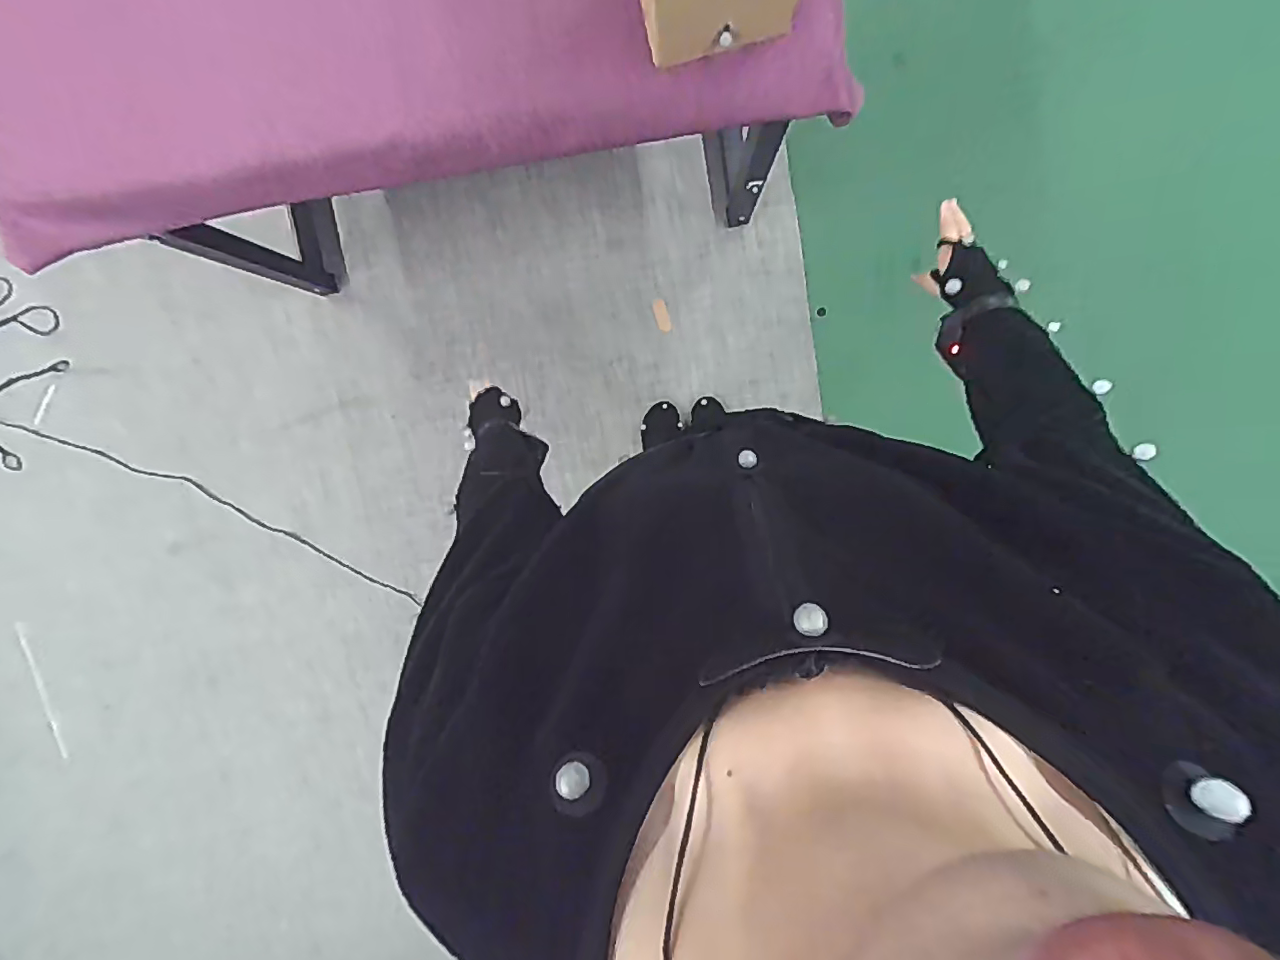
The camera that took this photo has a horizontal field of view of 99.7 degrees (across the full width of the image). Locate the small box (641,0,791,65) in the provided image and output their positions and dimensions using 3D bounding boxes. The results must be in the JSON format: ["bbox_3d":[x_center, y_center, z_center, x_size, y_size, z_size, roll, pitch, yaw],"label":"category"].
[{"bbox_3d":[0.083,-0.623,0.611,0.179,0.176,0.168,-12,96,5],"label":"small box"}]
